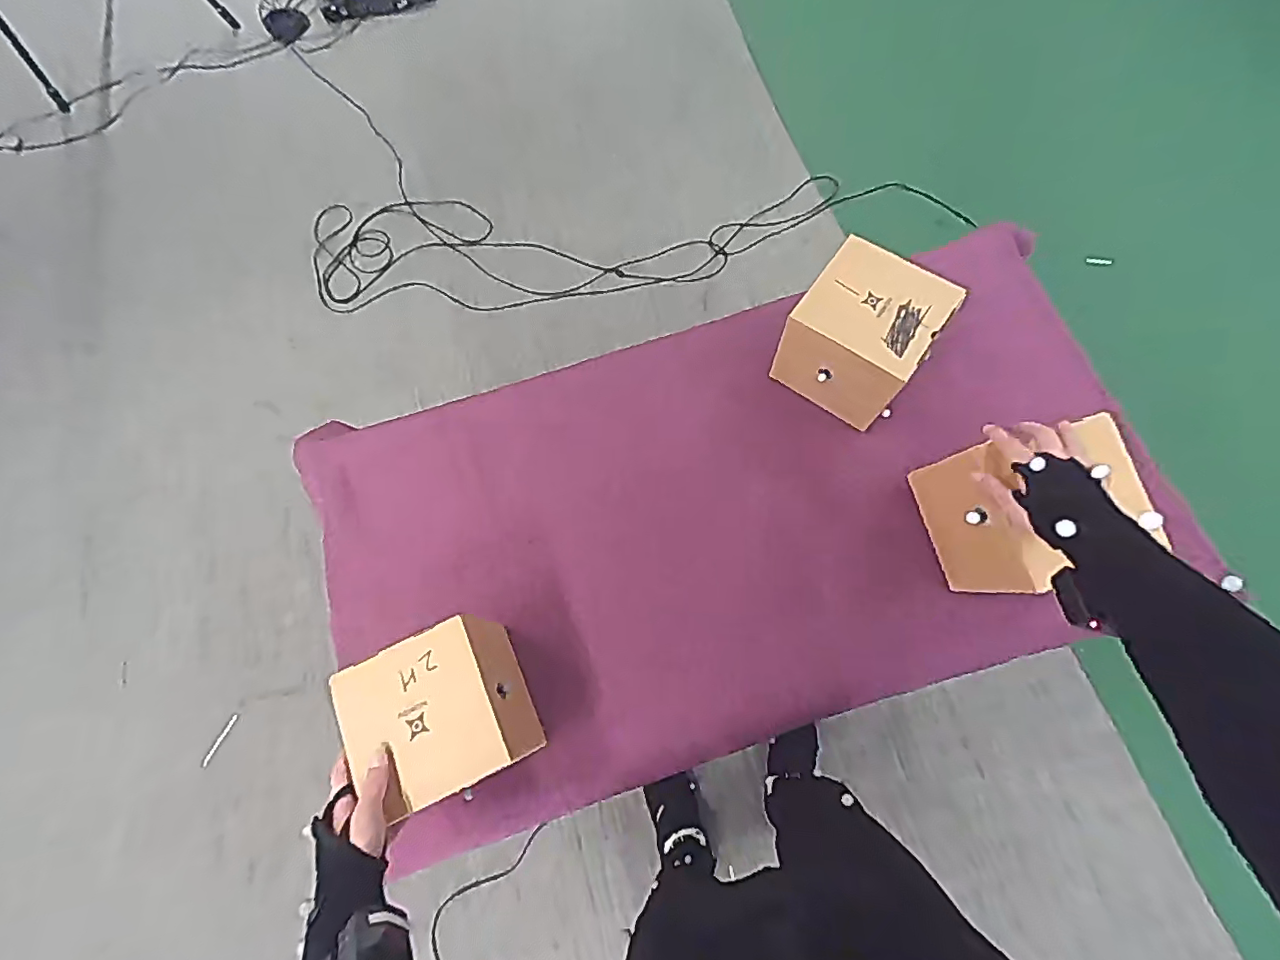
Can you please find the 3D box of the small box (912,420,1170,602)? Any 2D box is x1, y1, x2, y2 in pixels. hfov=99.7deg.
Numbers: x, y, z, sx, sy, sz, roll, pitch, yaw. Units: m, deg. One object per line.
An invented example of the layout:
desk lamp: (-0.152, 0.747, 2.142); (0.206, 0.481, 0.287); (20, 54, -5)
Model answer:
small box: (0.484, 0.046, 0.685); (0.168, 0.176, 0.179); (-15, 78, -2)

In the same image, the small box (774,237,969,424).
small box: (0.322, -0.203, 0.788); (0.179, 0.176, 0.168); (36, 78, 14)

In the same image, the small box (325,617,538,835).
small box: (-0.242, 0.287, 0.664); (0.168, 0.176, 0.179); (-24, 71, -5)
